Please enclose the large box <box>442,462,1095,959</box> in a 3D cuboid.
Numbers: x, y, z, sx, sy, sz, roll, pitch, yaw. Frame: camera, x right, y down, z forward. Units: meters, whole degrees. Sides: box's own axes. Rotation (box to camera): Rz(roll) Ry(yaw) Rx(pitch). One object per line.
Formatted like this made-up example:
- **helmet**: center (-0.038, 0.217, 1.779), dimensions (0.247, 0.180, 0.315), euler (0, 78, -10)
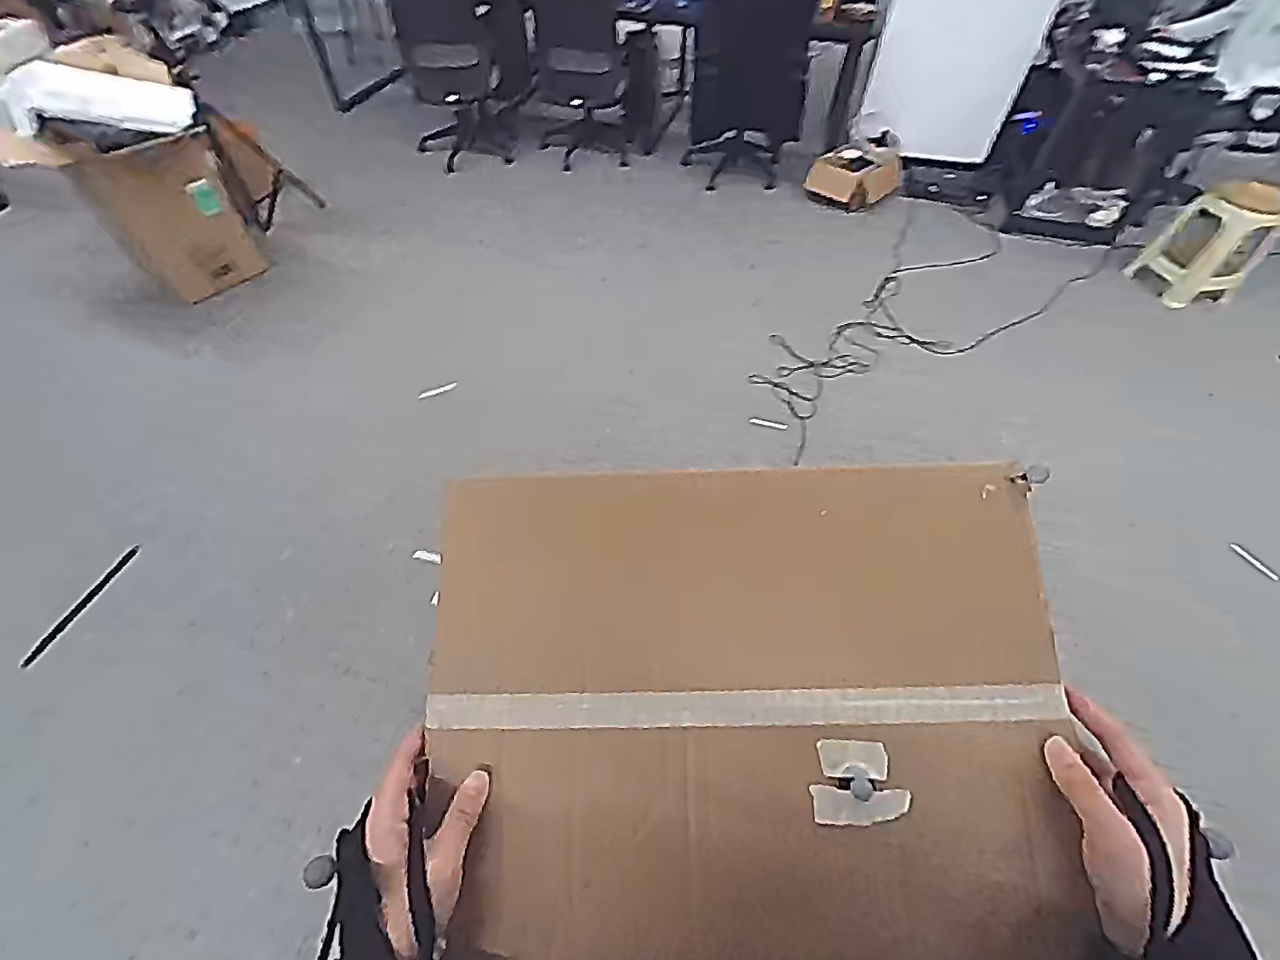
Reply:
- **large box**: center (0.074, 0.177, 0.505), dimensions (0.408, 0.320, 0.320), euler (-1, 78, 2)
